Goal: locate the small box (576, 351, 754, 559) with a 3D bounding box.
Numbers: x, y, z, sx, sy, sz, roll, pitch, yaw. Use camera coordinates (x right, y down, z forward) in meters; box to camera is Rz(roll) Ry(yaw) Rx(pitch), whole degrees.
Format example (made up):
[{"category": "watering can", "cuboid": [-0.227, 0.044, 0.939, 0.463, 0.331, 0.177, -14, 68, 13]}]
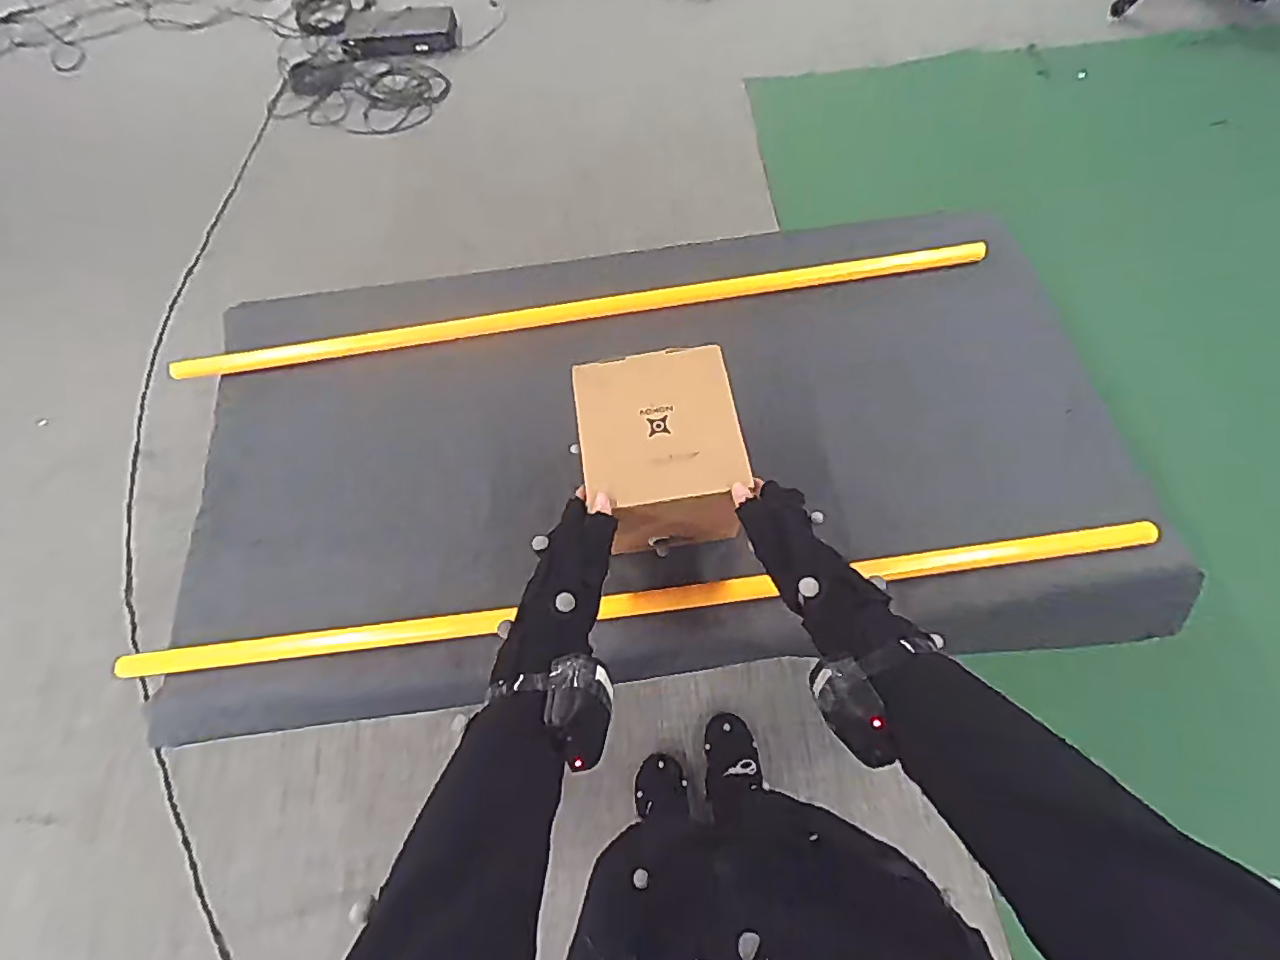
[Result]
[{"category": "small box", "cuboid": [0.024, -0.022, 0.636, 0.168, 0.176, 0.179, -10, 67, 0]}]
